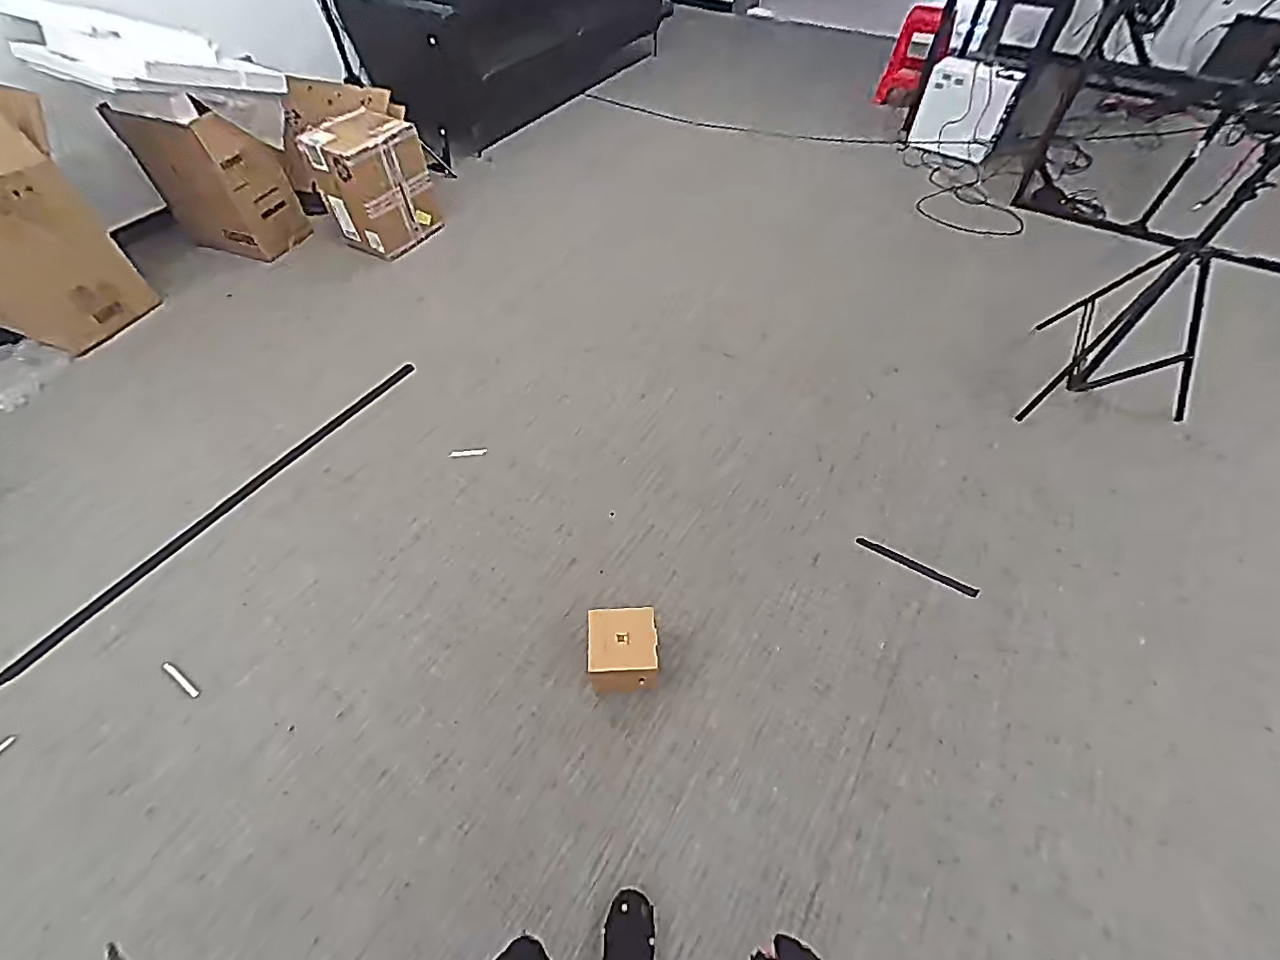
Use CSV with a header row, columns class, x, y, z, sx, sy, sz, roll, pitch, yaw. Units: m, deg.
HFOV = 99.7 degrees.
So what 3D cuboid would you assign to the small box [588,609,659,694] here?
class,x,y,z,sx,sy,sz,roll,pitch,yaw
small box,-0.044,0.454,1.427,0.179,0.176,0.168,-4,52,-1
